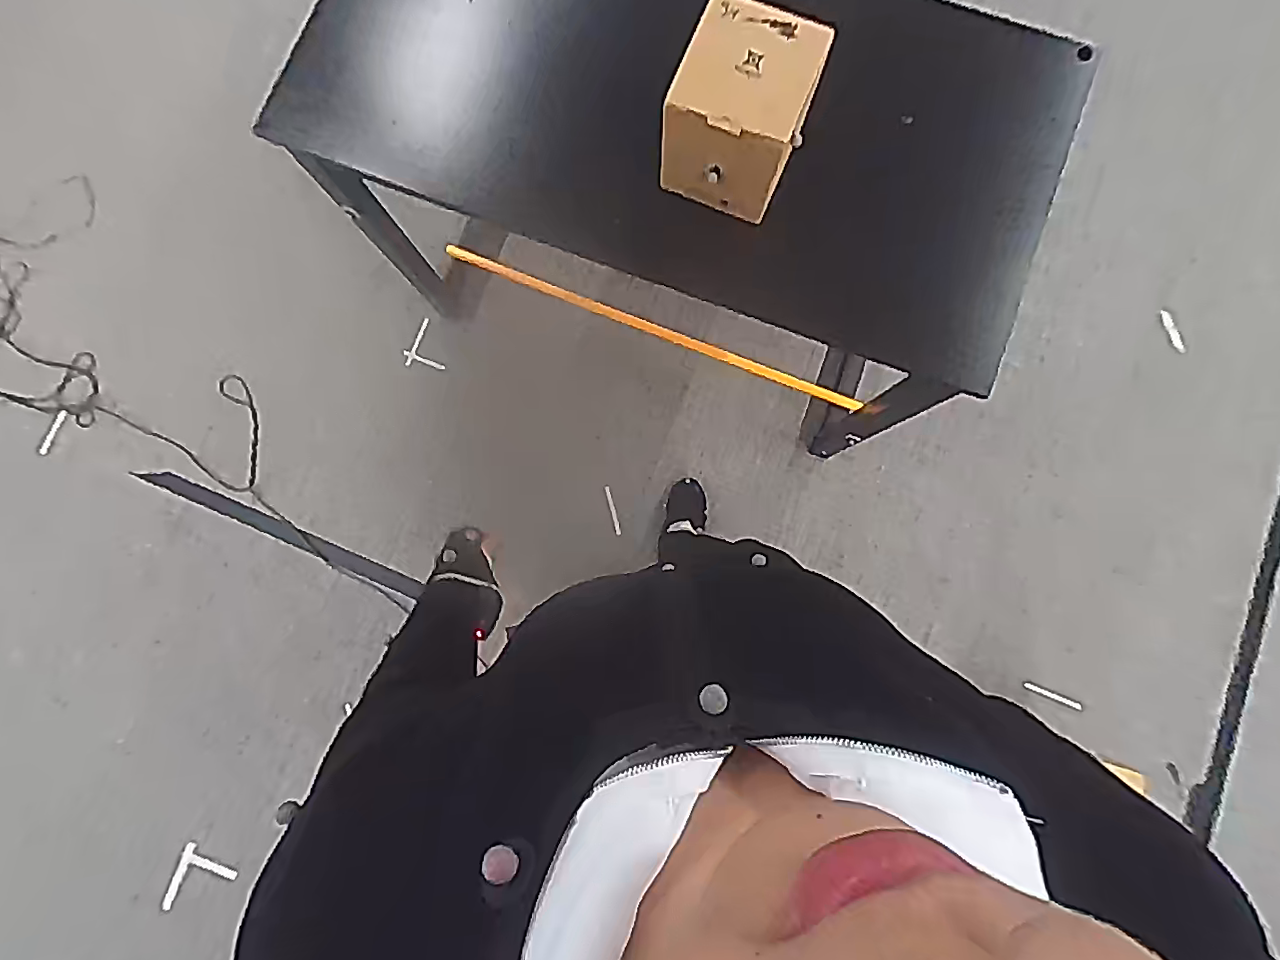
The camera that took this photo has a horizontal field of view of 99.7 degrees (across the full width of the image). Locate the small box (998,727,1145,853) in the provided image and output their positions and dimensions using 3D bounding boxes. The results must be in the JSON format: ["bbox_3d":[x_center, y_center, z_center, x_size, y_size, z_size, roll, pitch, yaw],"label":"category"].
[{"bbox_3d":[0.929,0.662,1.178,0.179,0.176,0.168,15,83,4],"label":"small box"}]

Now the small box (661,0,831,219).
[{"bbox_3d":[0.138,-0.508,0.760,0.168,0.176,0.179,23,85,4],"label":"small box"}]

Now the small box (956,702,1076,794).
[{"bbox_3d":[0.922,0.676,1.340,0.168,0.176,0.179,18,85,3],"label":"small box"}]

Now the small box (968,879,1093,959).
[{"bbox_3d":[0.922,1.116,1.293,0.168,0.176,0.179,15,84,3],"label":"small box"}]
